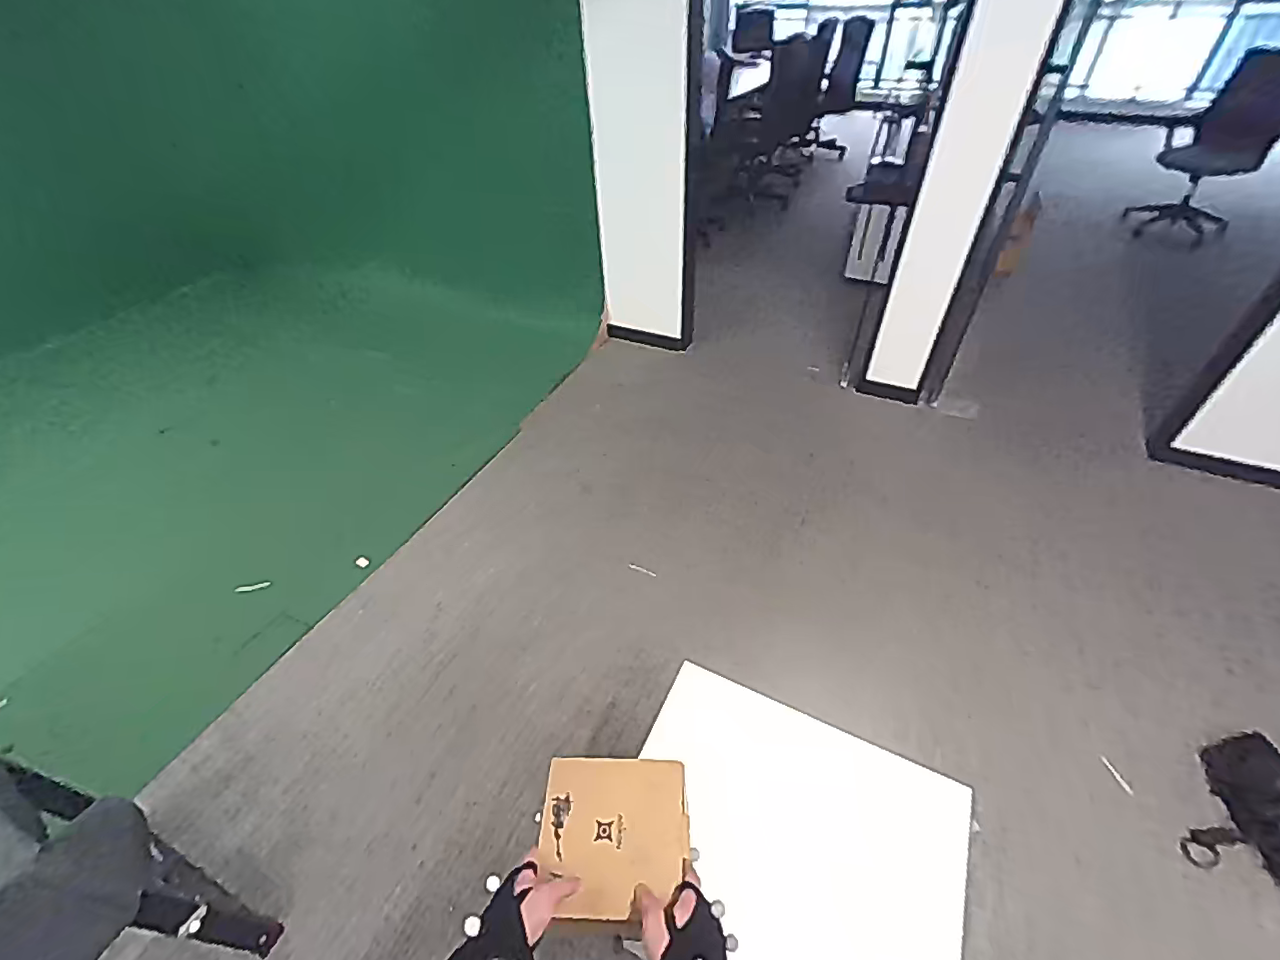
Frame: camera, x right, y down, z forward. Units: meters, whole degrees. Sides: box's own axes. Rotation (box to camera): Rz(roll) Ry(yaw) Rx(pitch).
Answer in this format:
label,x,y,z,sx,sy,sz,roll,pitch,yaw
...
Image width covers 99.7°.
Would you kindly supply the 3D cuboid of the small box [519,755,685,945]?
label,x,y,z,sx,sy,sz,roll,pitch,yaw
small box,-0.037,0.464,0.678,0.179,0.176,0.168,0,43,2
